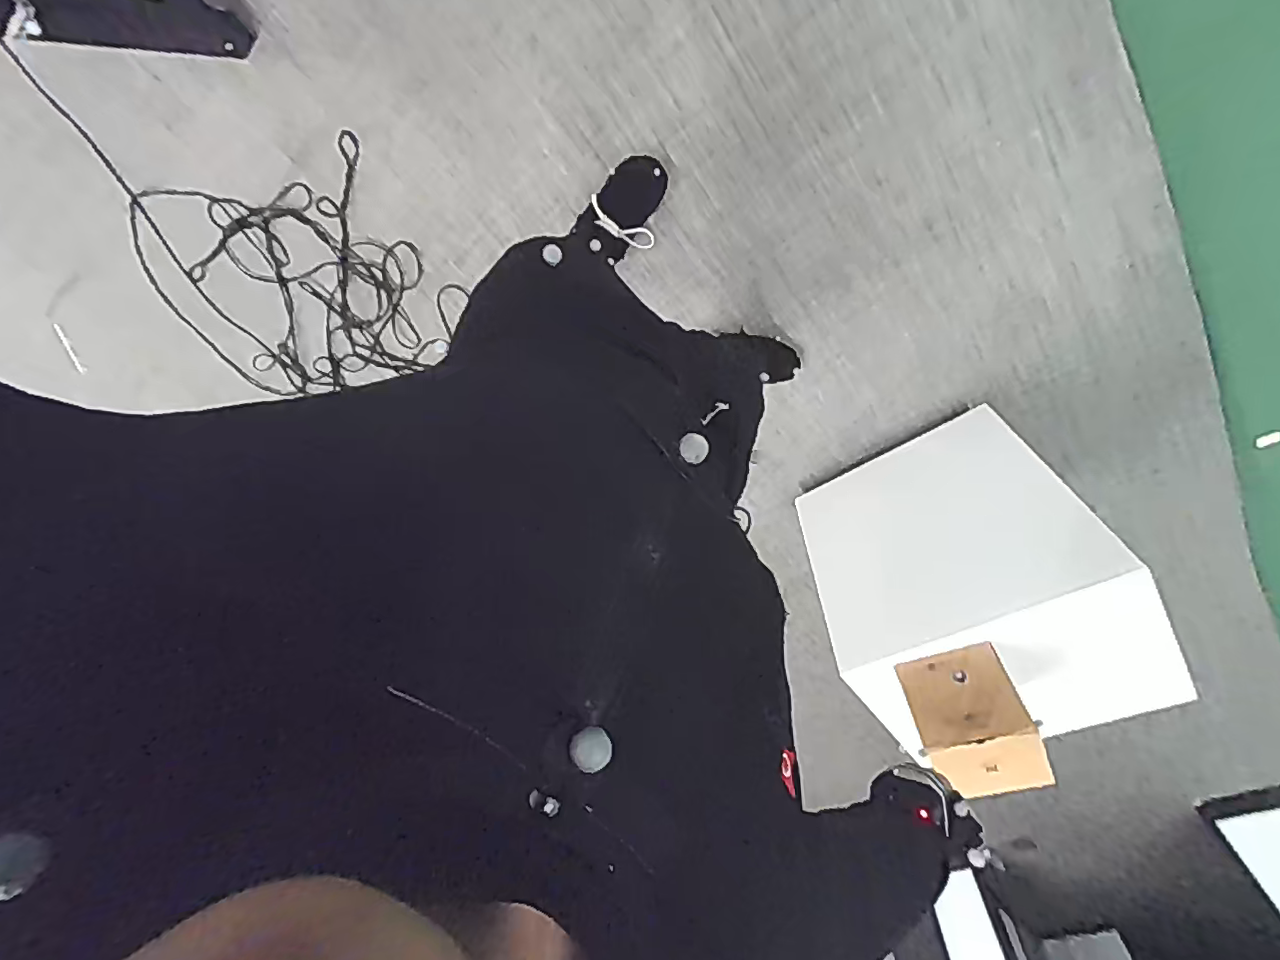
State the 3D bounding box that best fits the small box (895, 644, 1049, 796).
[{"bbox_3d":[0.575,0.420,0.951,0.168,0.176,0.179,-24,120,20],"label":"small box"}]
